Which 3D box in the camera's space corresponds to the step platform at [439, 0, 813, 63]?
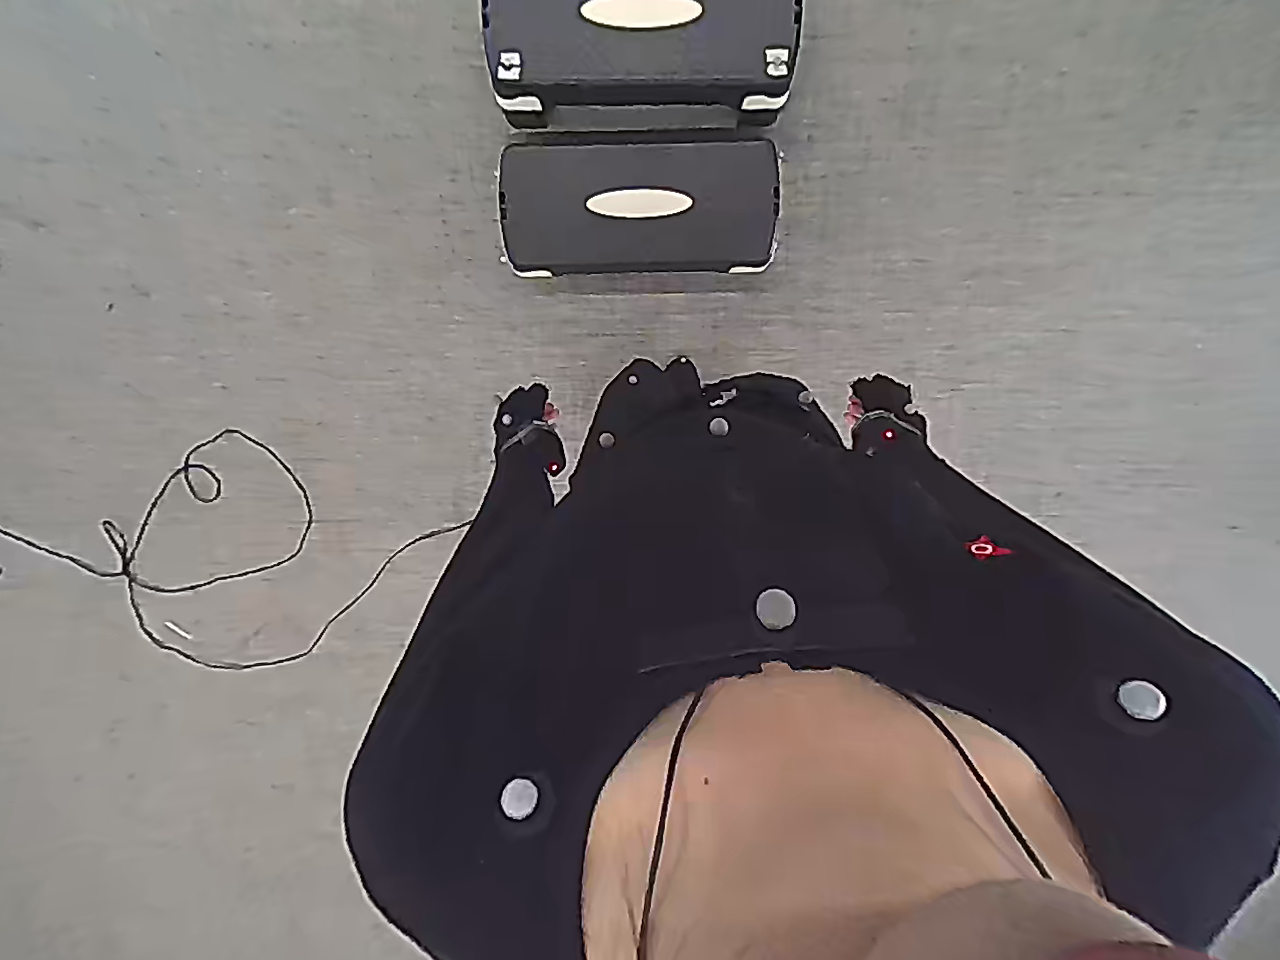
[{"bbox_3d":[-0.023,-0.964,0.983,0.684,0.204,0.286,-1,102,1],"label":"step platform"}]
